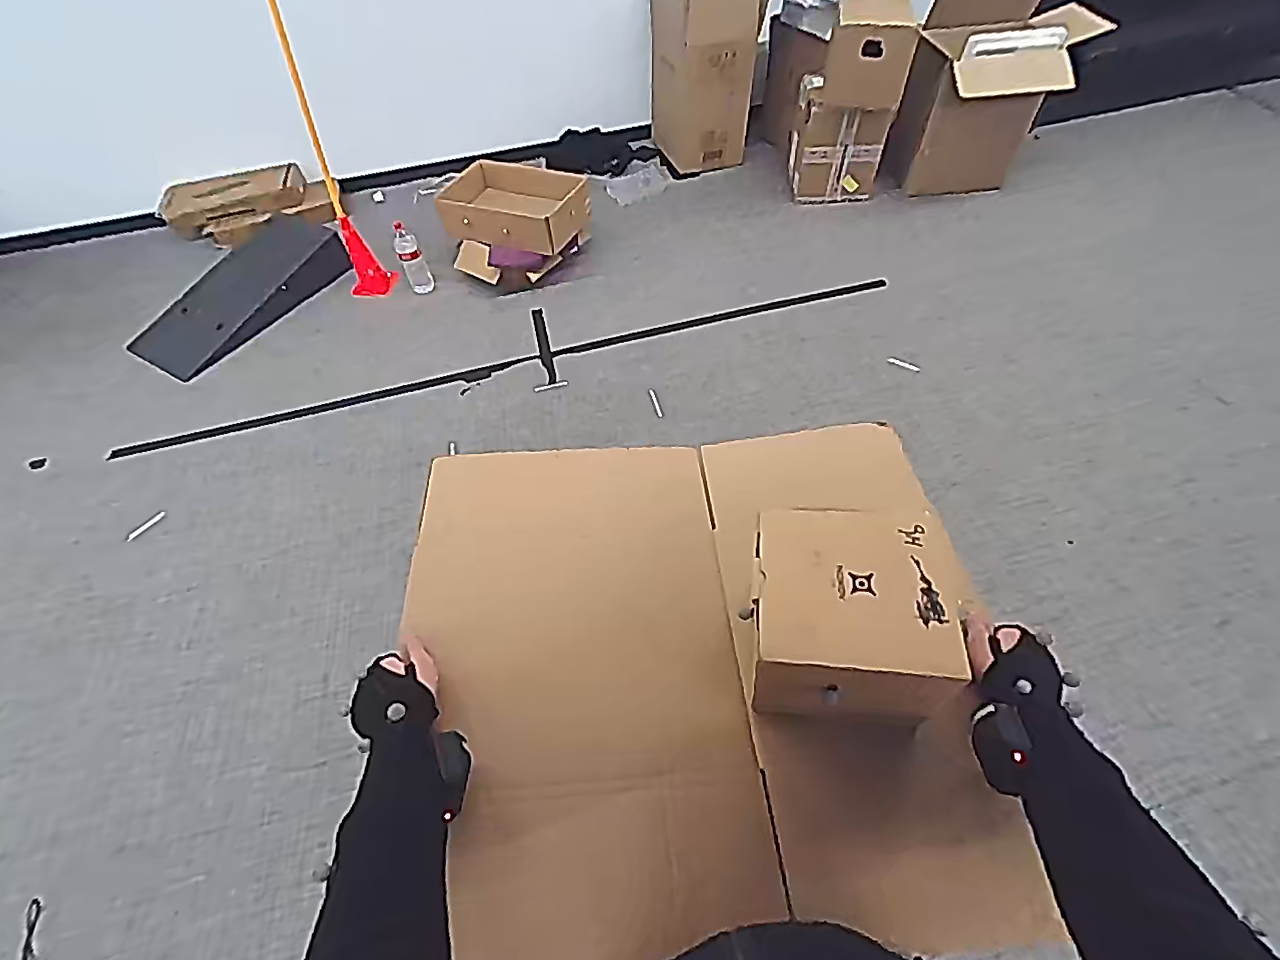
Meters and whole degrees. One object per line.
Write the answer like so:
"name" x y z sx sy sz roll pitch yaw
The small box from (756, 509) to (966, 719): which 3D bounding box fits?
"small box" 0.215 0.146 0.580 0.179 0.176 0.168 1 54 12
